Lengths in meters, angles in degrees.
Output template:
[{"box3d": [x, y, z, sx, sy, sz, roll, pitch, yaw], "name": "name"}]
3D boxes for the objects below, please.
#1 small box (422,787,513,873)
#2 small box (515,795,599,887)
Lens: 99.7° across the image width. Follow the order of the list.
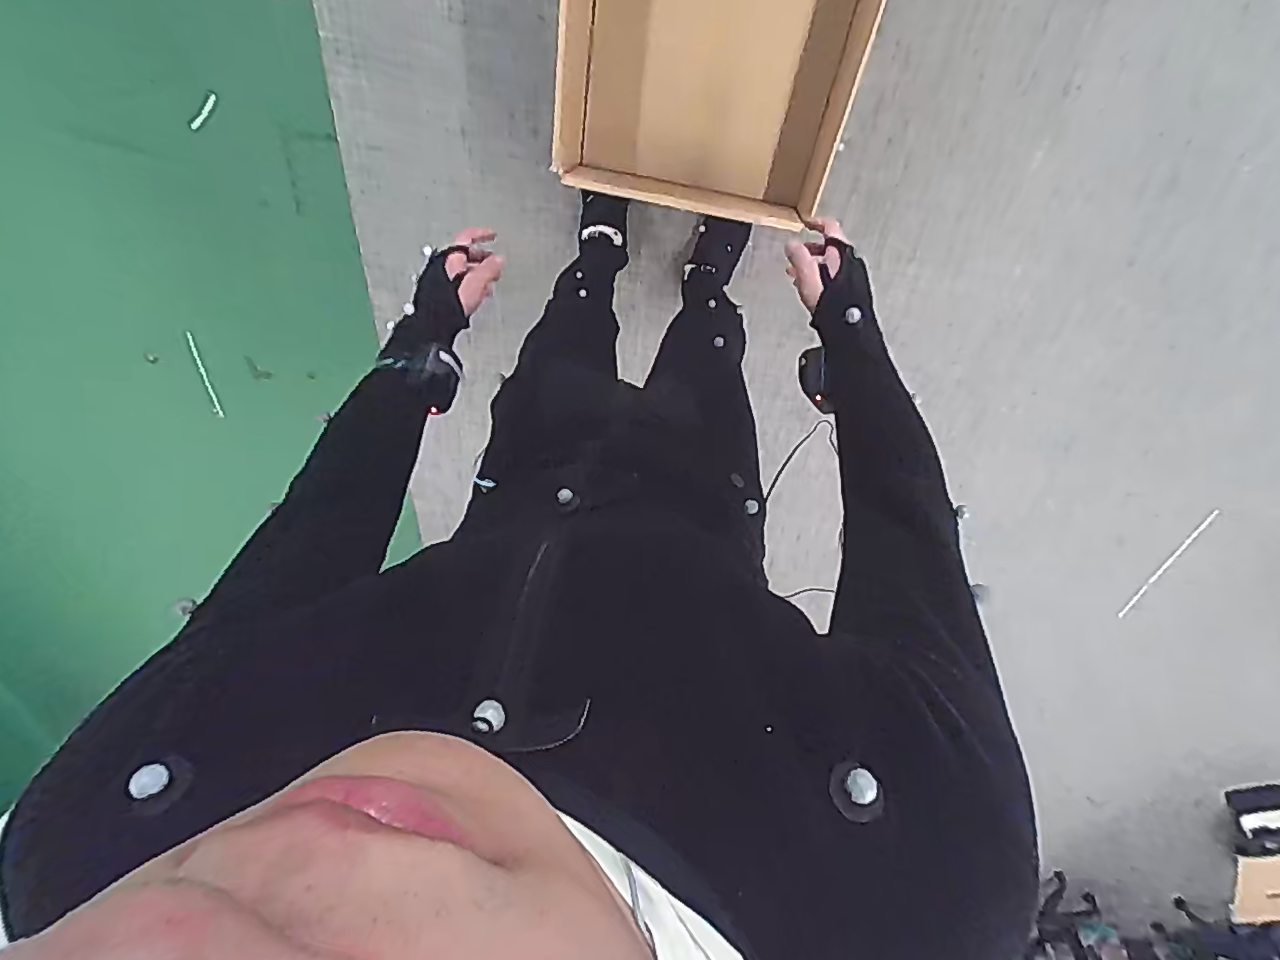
[{"box3d": [-0.517, 1.065, 1.647, 0.179, 0.176, 0.168, -21, 121, 21], "name": "small box"}, {"box3d": [-0.237, 1.063, 1.598, 0.168, 0.176, 0.179, 36, 124, -16], "name": "small box"}]
